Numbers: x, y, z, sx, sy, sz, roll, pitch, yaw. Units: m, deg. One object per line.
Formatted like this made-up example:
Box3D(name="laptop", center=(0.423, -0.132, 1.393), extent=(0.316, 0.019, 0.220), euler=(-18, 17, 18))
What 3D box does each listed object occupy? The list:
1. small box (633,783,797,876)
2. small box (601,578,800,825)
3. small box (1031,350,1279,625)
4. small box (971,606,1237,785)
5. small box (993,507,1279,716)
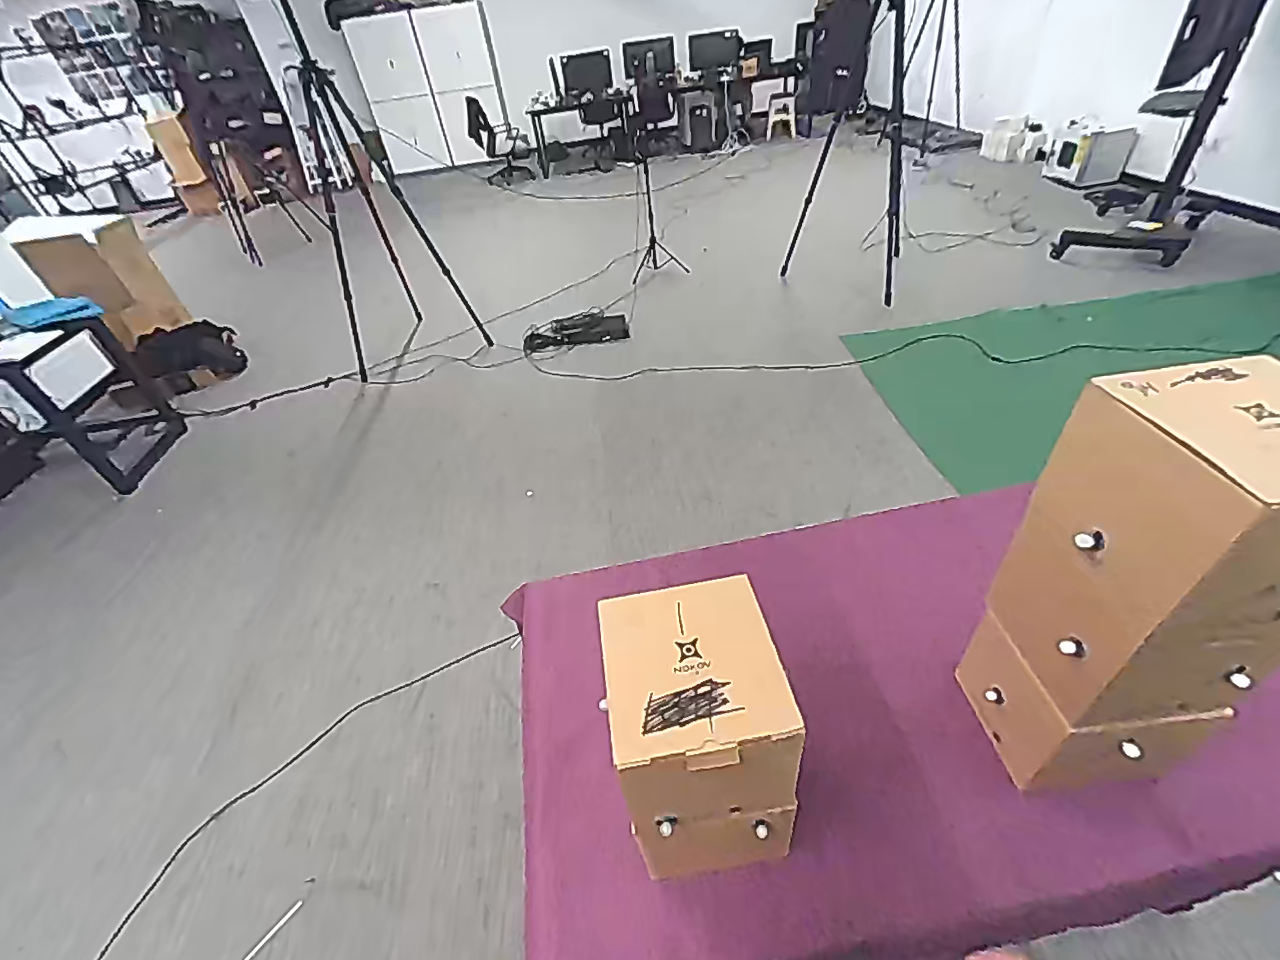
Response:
Box3D(name="small box", center=(0.083, 0.362, 0.672), extent=(0.179, 0.176, 0.168), euler=(-11, 40, -1))
Box3D(name="small box", center=(0.059, 0.236, 0.569), extent=(0.168, 0.176, 0.179), euler=(-11, 39, -1))
Box3D(name="small box", center=(0.500, 0.011, 0.478), extent=(0.168, 0.176, 0.179), euler=(-8, 41, 1))
Box3D(name="small box", center=(0.550, 0.263, 0.681), extent=(0.179, 0.176, 0.168), euler=(-8, 41, 3))
Box3D(name="small box", center=(0.526, 0.135, 0.583), extent=(0.168, 0.176, 0.179), euler=(-8, 39, 3))
